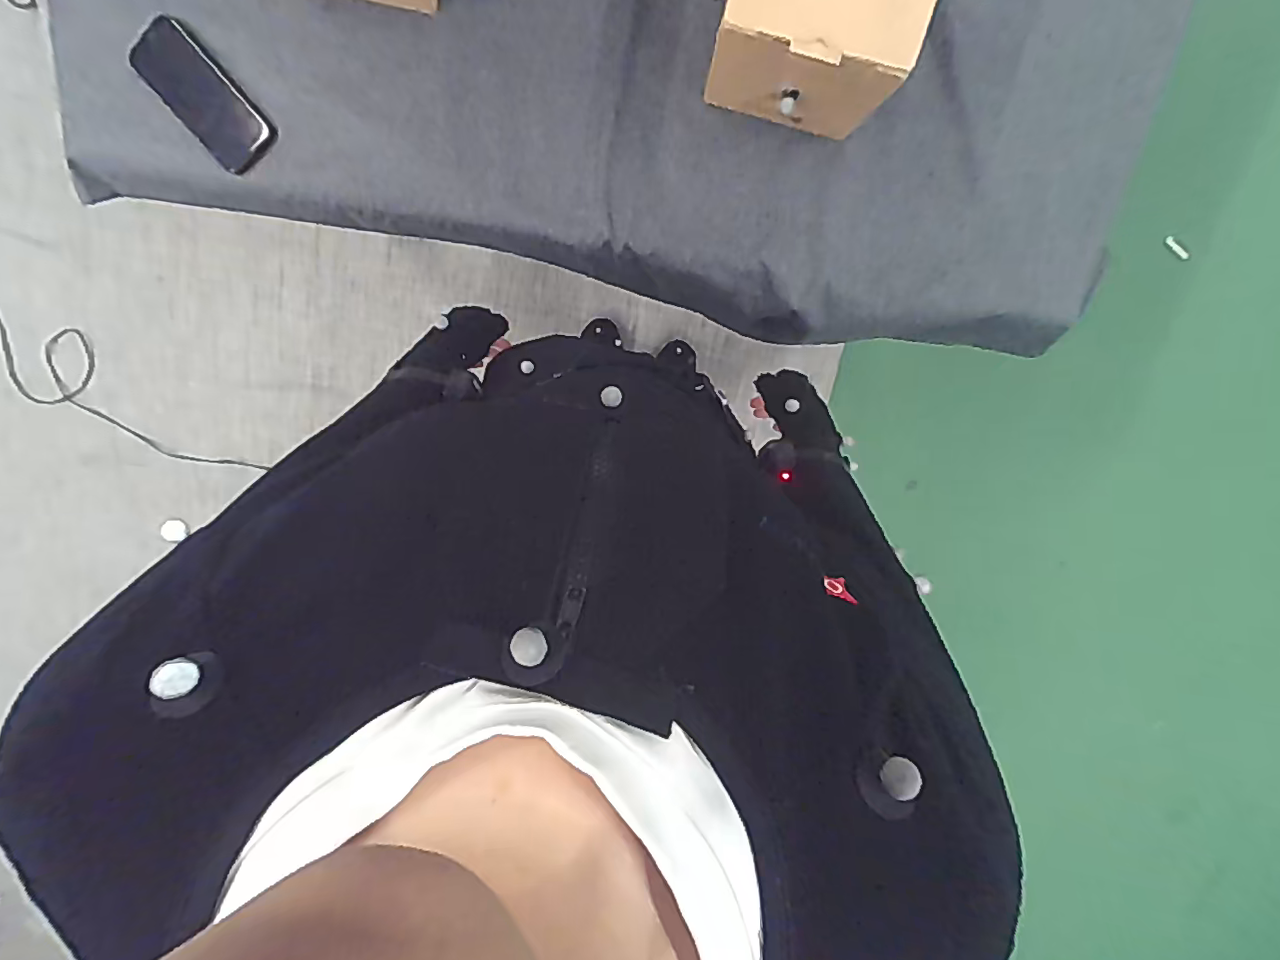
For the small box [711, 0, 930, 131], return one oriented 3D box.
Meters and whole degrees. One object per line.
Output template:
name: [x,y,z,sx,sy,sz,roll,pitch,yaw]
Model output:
small box: [0.168,-0.458,0.500,0.168,0.176,0.179,14,106,-2]
